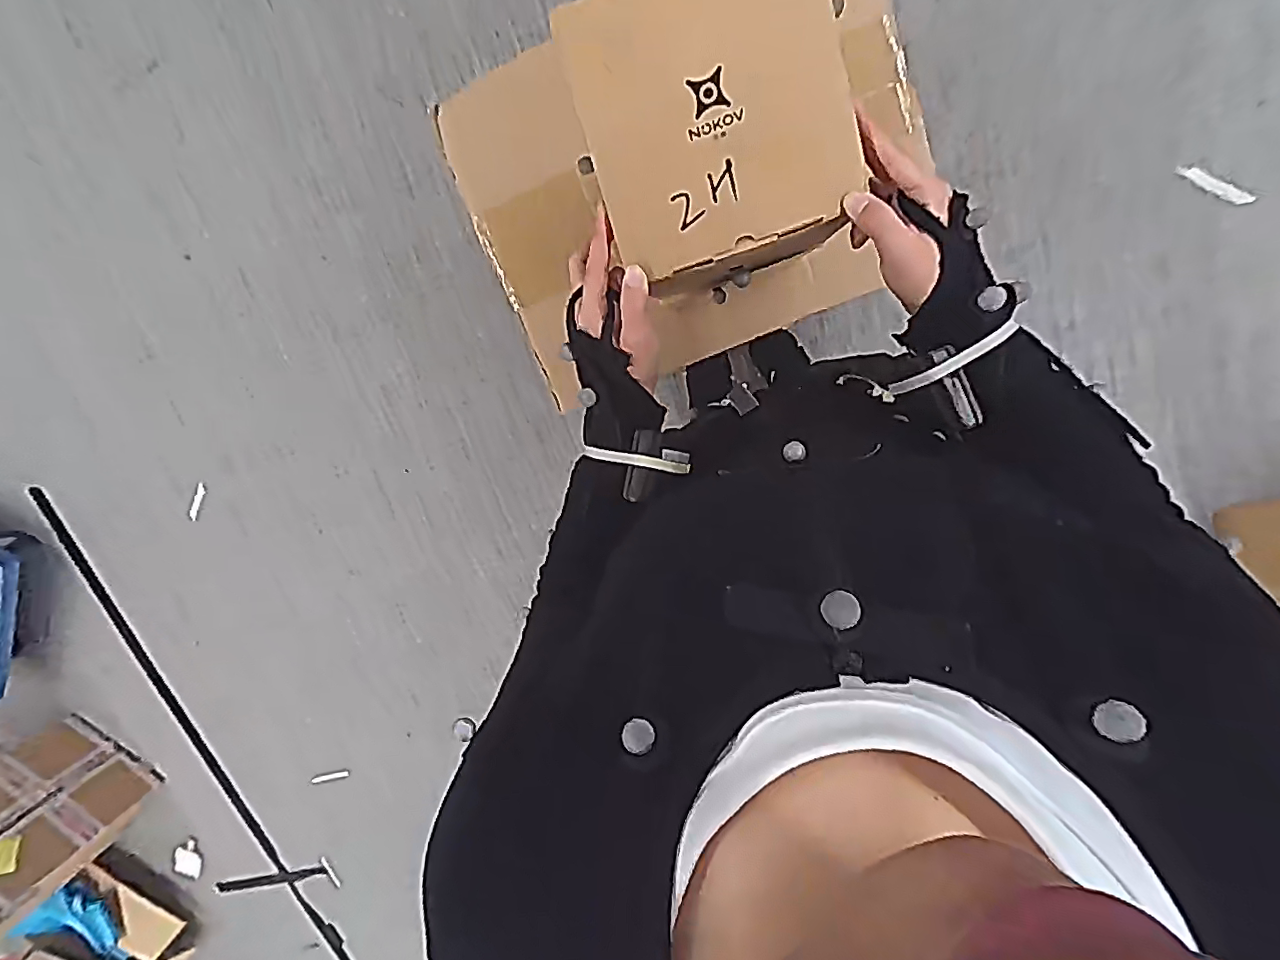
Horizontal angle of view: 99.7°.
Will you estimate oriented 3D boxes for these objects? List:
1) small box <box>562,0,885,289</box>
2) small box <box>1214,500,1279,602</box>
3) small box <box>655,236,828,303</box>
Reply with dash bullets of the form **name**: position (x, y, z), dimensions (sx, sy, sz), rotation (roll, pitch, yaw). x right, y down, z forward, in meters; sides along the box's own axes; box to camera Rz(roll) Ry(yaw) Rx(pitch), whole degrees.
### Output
- **small box**: position (0.061, -0.260, 0.408), dimensions (0.168, 0.176, 0.179), rotation (-15, 102, 12)
- **small box**: position (1.428, 0.147, 1.177), dimensions (0.179, 0.176, 0.168), rotation (-10, 104, 11)
- **small box**: position (0.083, -0.299, 0.568), dimensions (0.168, 0.176, 0.179), rotation (-17, 103, 12)
